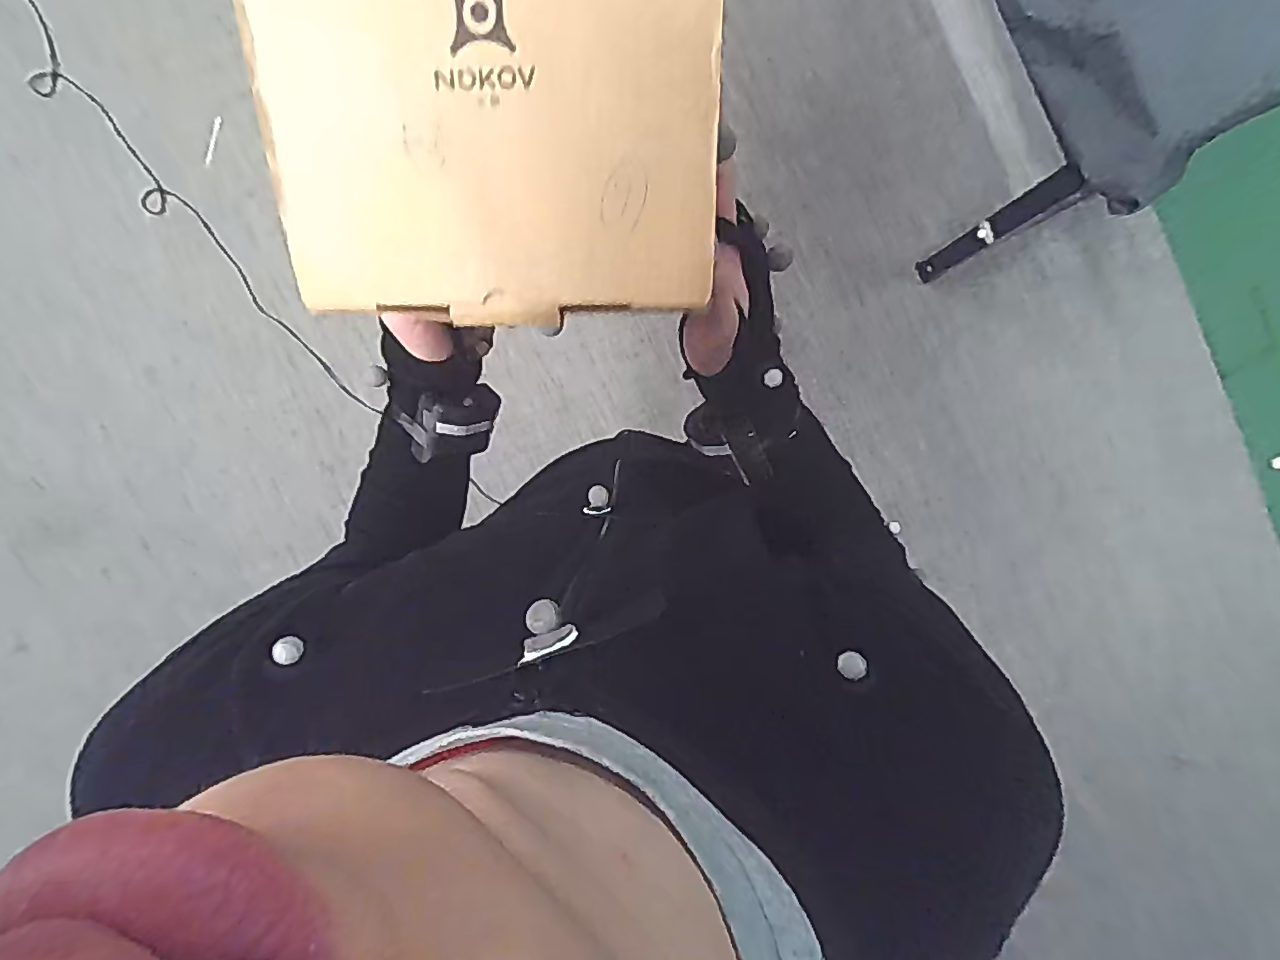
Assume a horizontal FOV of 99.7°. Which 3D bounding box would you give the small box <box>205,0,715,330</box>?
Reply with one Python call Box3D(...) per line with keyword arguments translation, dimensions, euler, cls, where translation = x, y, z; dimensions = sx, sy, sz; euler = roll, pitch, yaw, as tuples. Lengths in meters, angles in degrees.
Box3D(translation=(-0.054, -0.171, 0.250), dimensions=(0.168, 0.176, 0.179), euler=(0, 113, 1), cls="small box")
